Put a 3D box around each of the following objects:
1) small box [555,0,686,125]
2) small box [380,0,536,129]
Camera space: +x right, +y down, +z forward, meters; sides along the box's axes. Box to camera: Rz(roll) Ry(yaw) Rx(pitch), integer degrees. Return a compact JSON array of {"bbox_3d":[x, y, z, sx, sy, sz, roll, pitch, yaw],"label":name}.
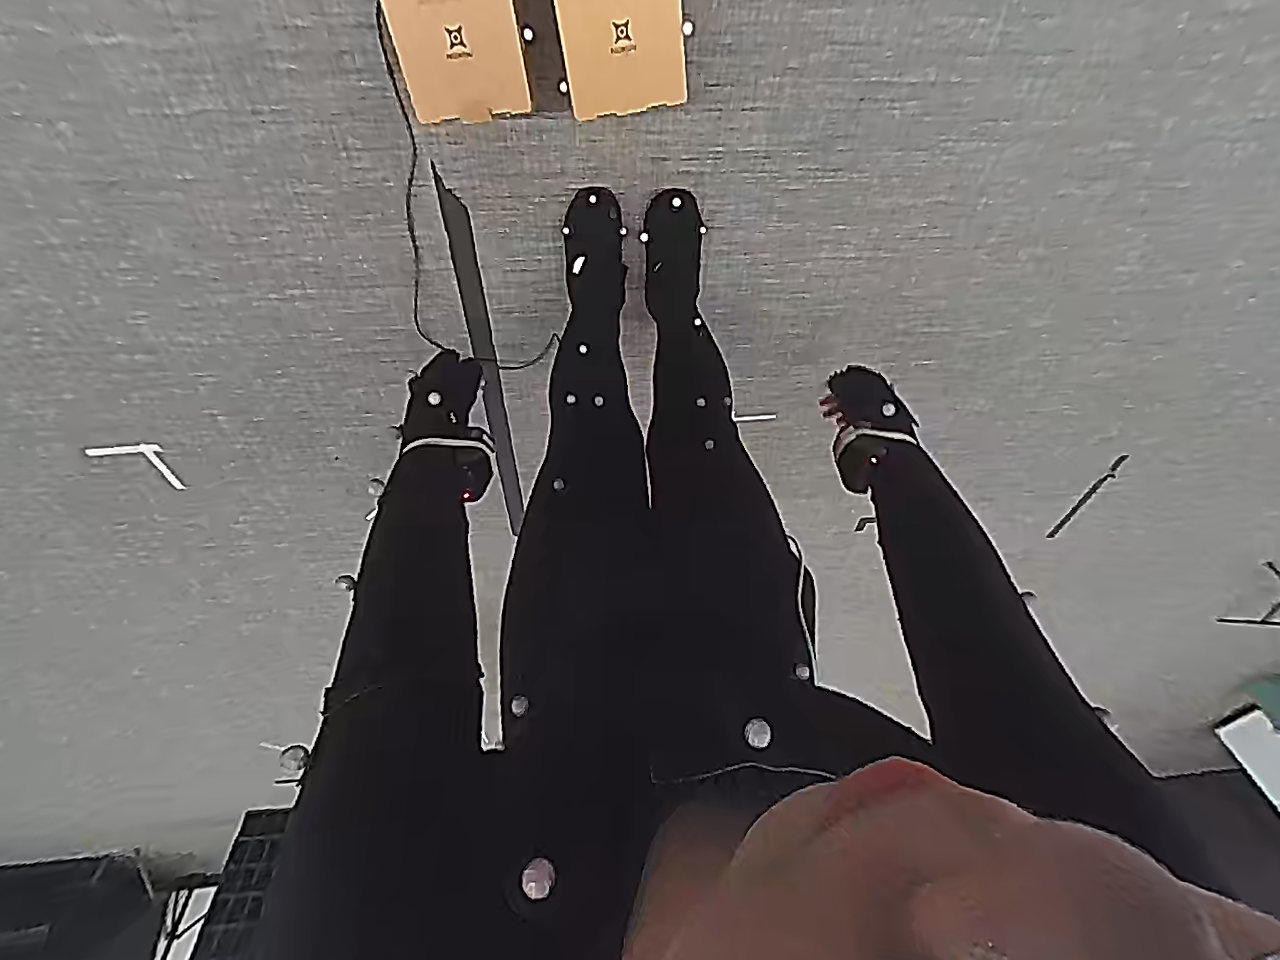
[{"bbox_3d":[-0.031,-0.644,0.780,0.168,0.176,0.179,-9,136,2],"label":"small box"},{"bbox_3d":[-0.247,-0.627,0.770,0.168,0.176,0.179,-6,135,-1],"label":"small box"}]
